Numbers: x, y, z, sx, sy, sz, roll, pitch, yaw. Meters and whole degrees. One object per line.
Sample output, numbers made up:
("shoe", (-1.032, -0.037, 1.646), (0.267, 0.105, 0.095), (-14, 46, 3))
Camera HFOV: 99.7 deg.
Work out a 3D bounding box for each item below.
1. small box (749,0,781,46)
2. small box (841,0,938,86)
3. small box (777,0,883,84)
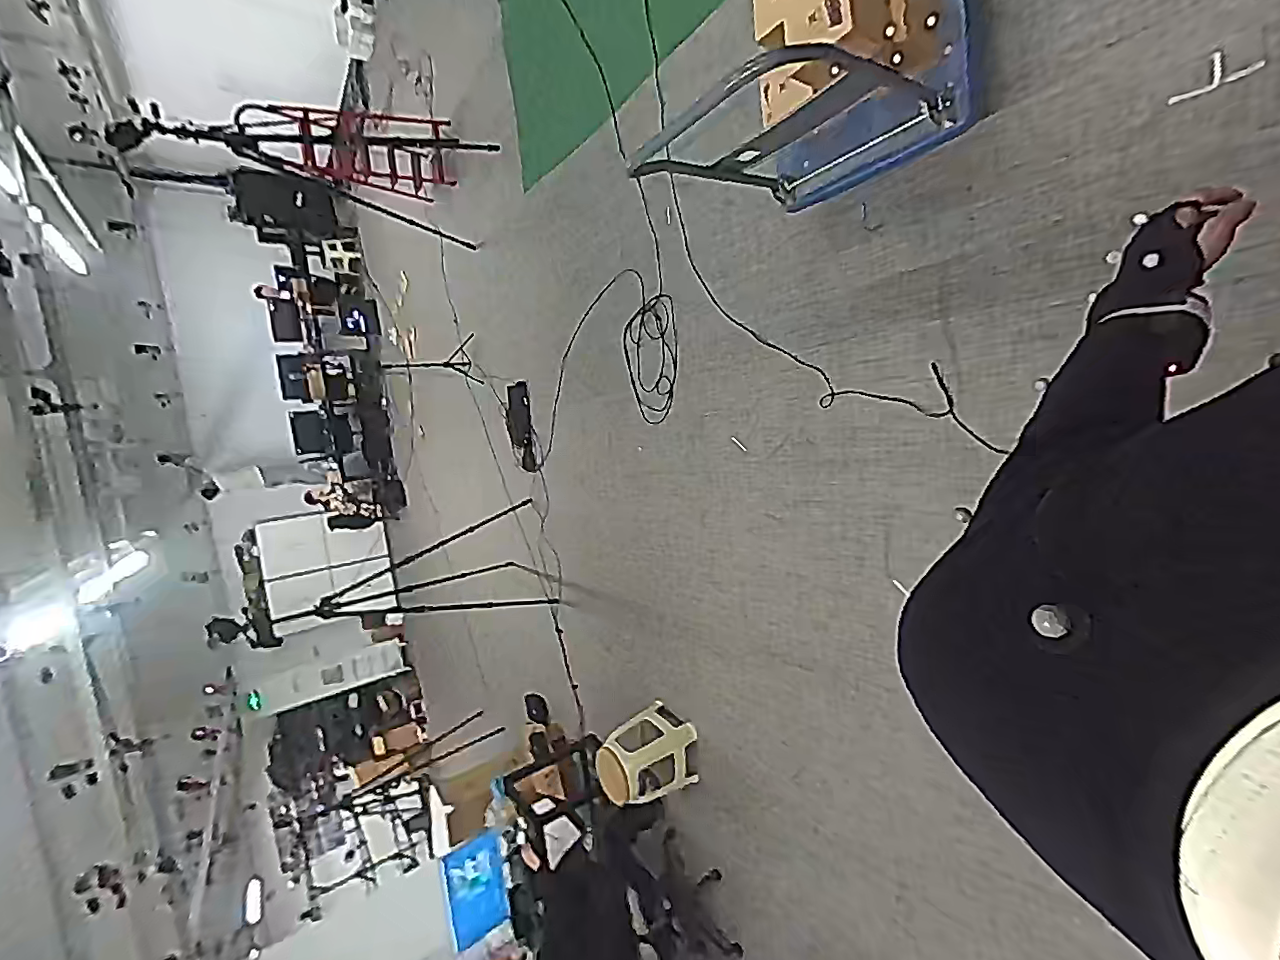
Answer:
("small box", (0.421, -1.348, 1.496), (0.179, 0.176, 0.168), (7, 106, 53))
("small box", (0.598, -1.100, 1.338), (0.168, 0.176, 0.179), (41, 131, 38))
("small box", (0.447, -1.071, 1.256), (0.179, 0.176, 0.168), (2, 100, 54))
